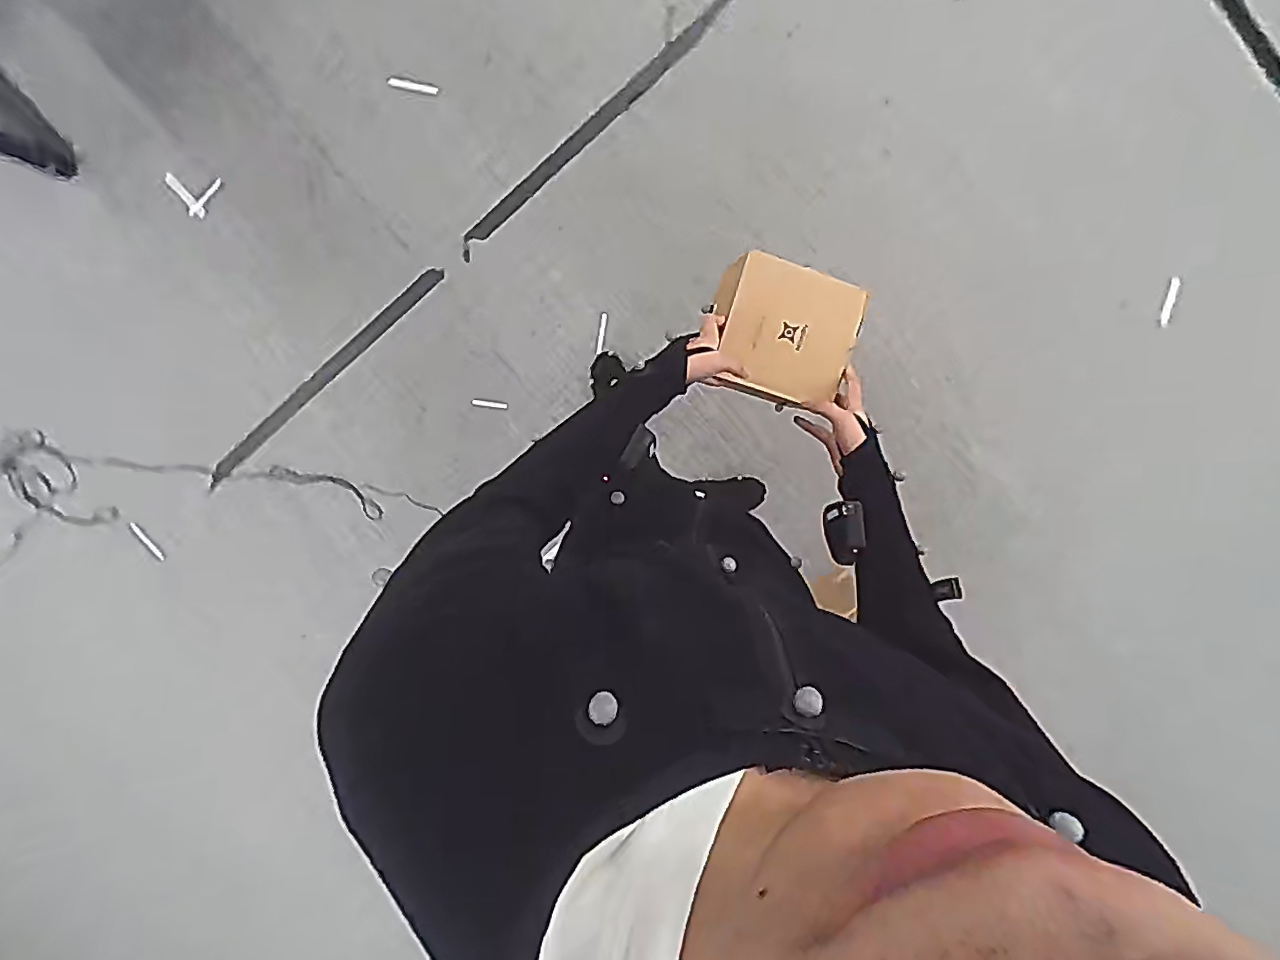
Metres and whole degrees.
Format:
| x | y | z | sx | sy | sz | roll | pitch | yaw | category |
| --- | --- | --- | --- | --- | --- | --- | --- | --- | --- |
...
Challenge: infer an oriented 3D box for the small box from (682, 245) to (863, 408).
| x | y | z | sx | sy | sz | roll | pitch | yaw | category |
| --- | --- | --- | --- | --- | --- | --- | --- | --- | --- |
| 0.176 | -0.211 | 0.776 | 0.179 | 0.176 | 0.168 | 15 | 98 | -8 | small box |

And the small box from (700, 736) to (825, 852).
| x | y | z | sx | sy | sz | roll | pitch | yaw | category |
| --- | --- | --- | --- | --- | --- | --- | --- | --- | --- |
| 0.236 | 0.647 | 1.052 | 0.168 | 0.176 | 0.179 | -43 | 94 | 7 | small box |
